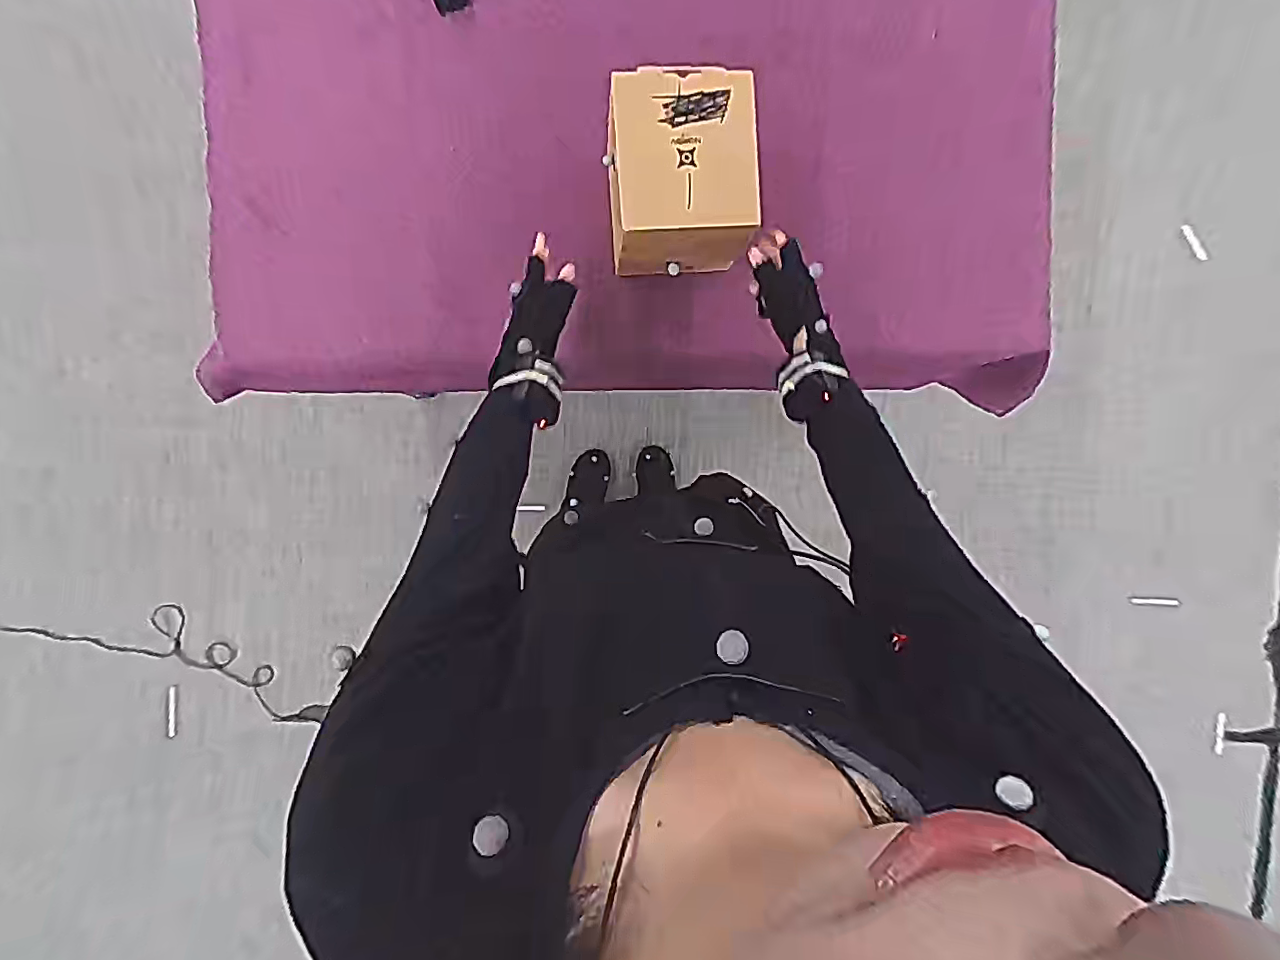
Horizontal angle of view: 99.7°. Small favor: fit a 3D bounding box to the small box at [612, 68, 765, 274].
[{"bbox_3d":[0.052,-0.382,0.693,0.168,0.176,0.179,-4,94,-4],"label":"small box"}]
